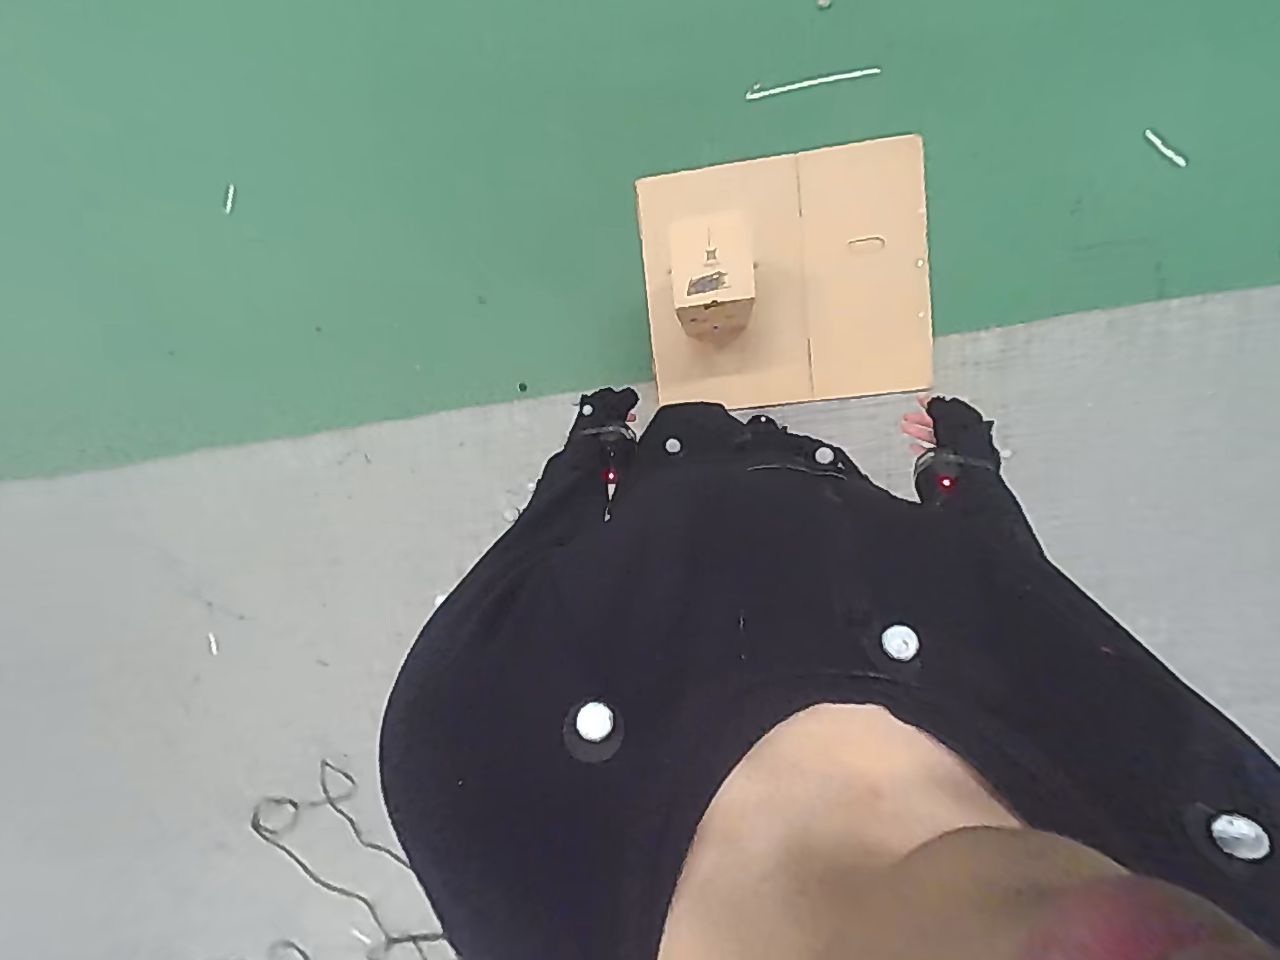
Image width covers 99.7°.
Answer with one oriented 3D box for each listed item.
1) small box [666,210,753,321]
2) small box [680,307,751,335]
[{"bbox_3d":[0.150,-0.443,1.148,0.168,0.176,0.179,-5,95,9],"label":"small box"},{"bbox_3d":[0.174,-0.462,1.310,0.168,0.176,0.179,-7,96,9],"label":"small box"}]
